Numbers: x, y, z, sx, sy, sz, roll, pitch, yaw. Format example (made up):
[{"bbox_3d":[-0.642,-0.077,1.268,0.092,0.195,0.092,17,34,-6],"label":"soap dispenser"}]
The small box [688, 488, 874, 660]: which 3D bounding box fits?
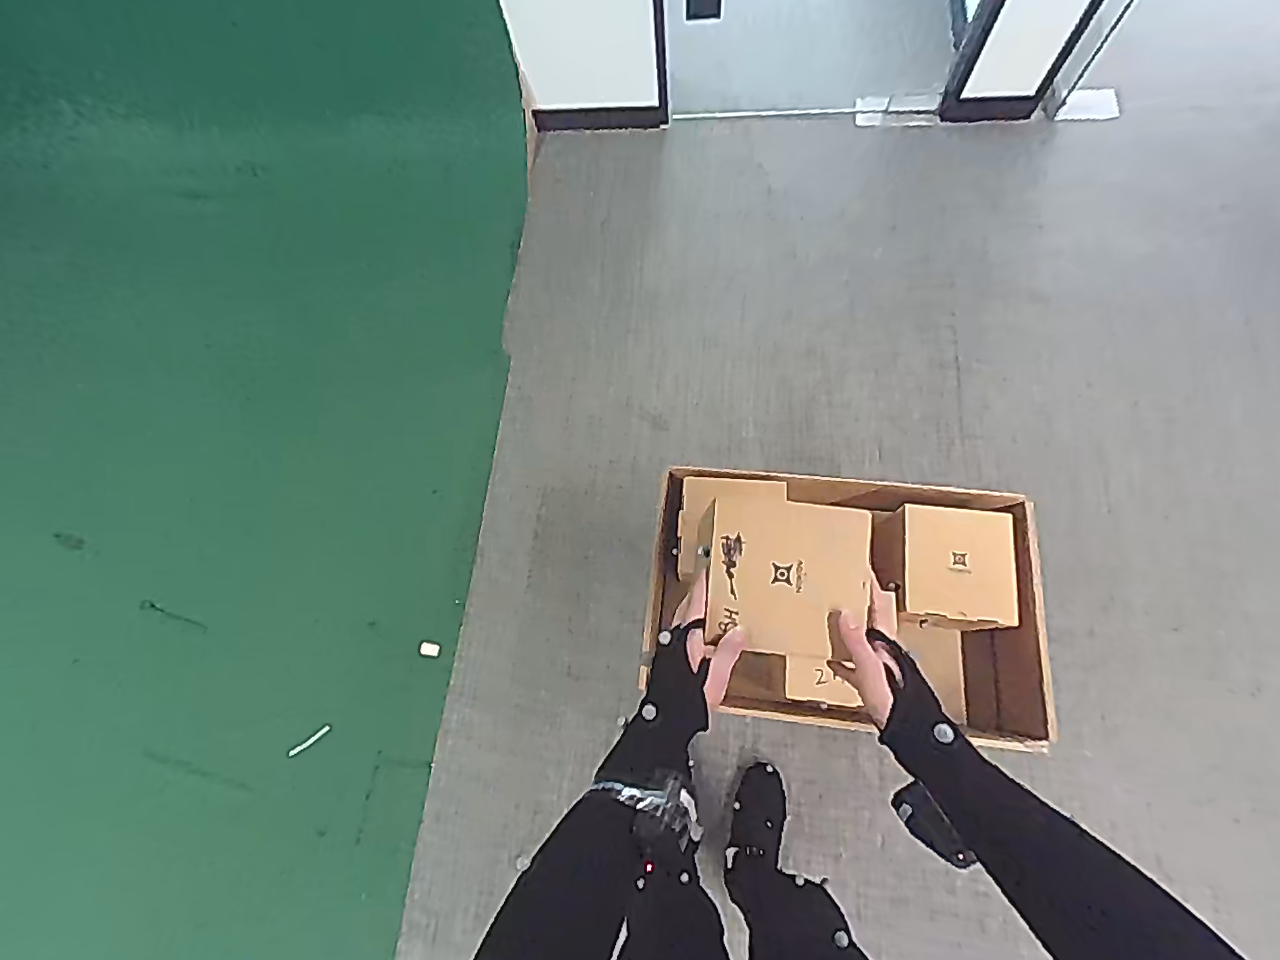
[{"bbox_3d":[0.161,0.116,0.660,0.179,0.176,0.168,7,77,1],"label":"small box"}]
